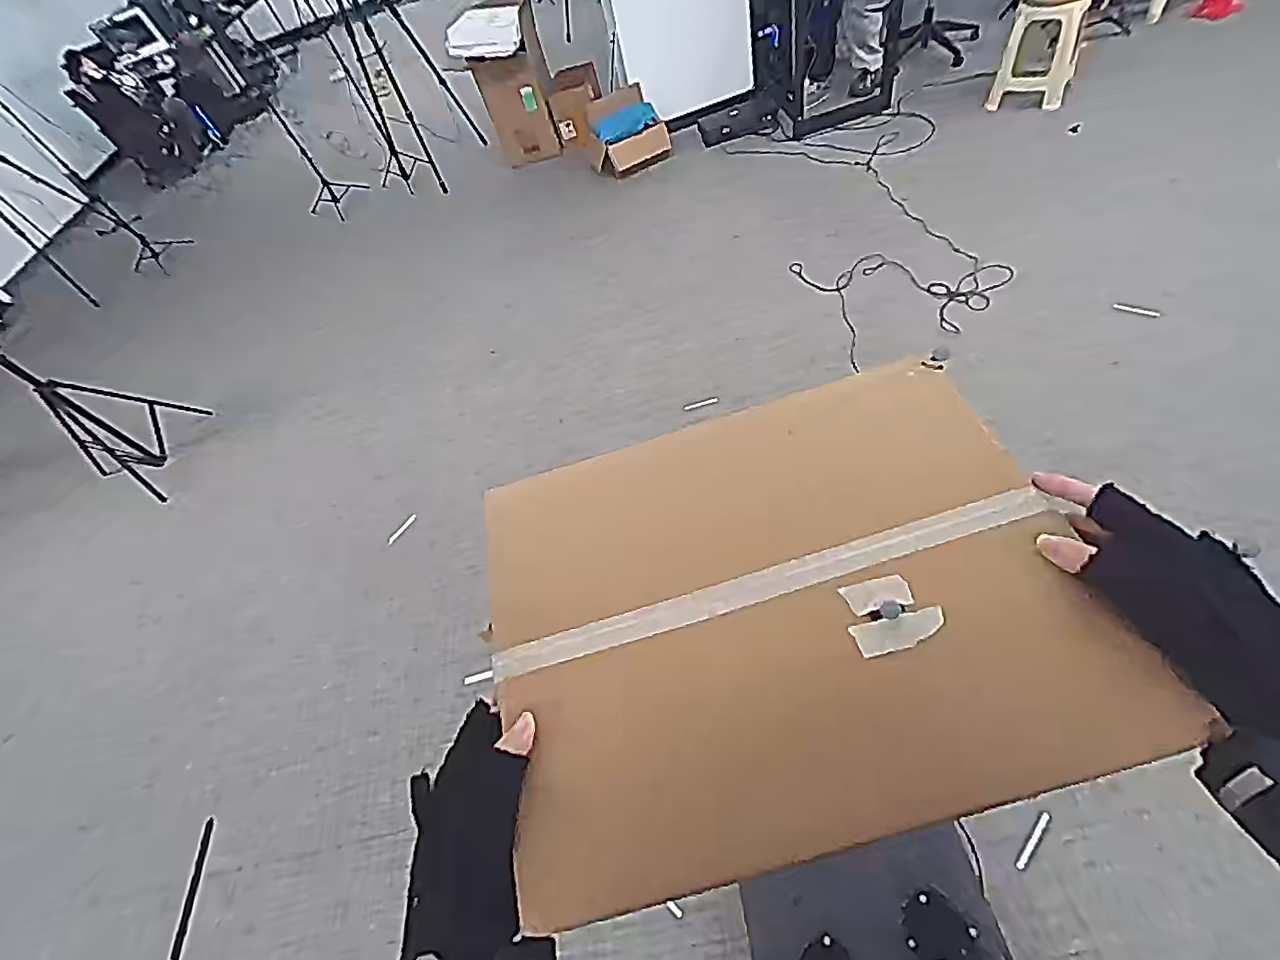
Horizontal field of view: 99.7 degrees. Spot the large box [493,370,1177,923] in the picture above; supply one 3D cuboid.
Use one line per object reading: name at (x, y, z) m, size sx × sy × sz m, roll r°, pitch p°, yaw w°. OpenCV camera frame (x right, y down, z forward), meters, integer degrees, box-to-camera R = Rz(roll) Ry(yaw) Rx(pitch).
large box at (0.118, 0.161, 0.523) m, size 0.408 × 0.320 × 0.320 m, roll -18°, pitch 56°, yaw 1°
